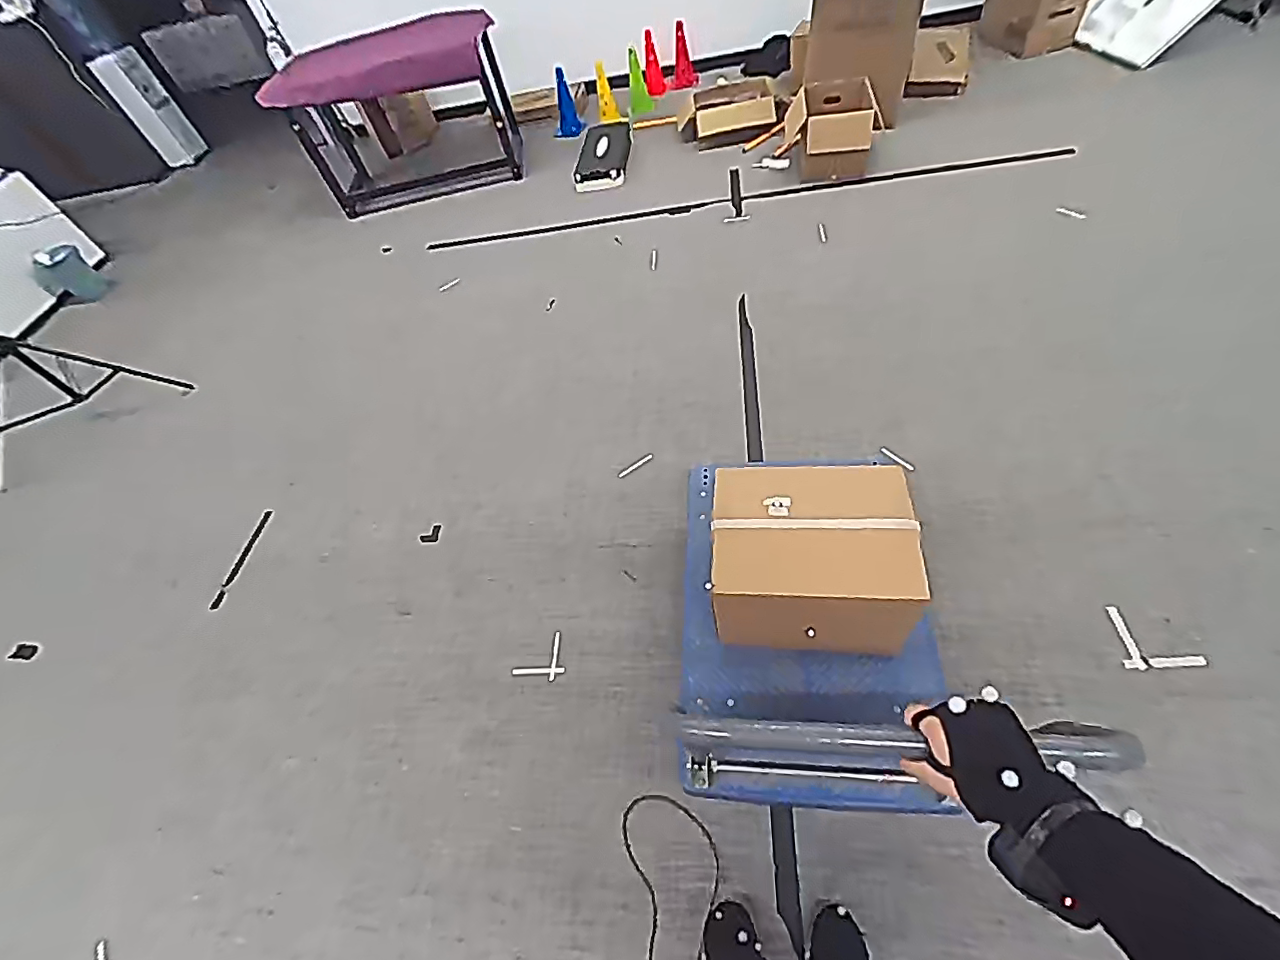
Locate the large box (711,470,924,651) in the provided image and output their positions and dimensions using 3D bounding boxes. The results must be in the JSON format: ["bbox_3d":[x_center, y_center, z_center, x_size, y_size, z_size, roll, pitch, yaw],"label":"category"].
[{"bbox_3d":[0.382,0.194,1.254,0.408,0.320,0.320,-1,53,12],"label":"large box"}]
